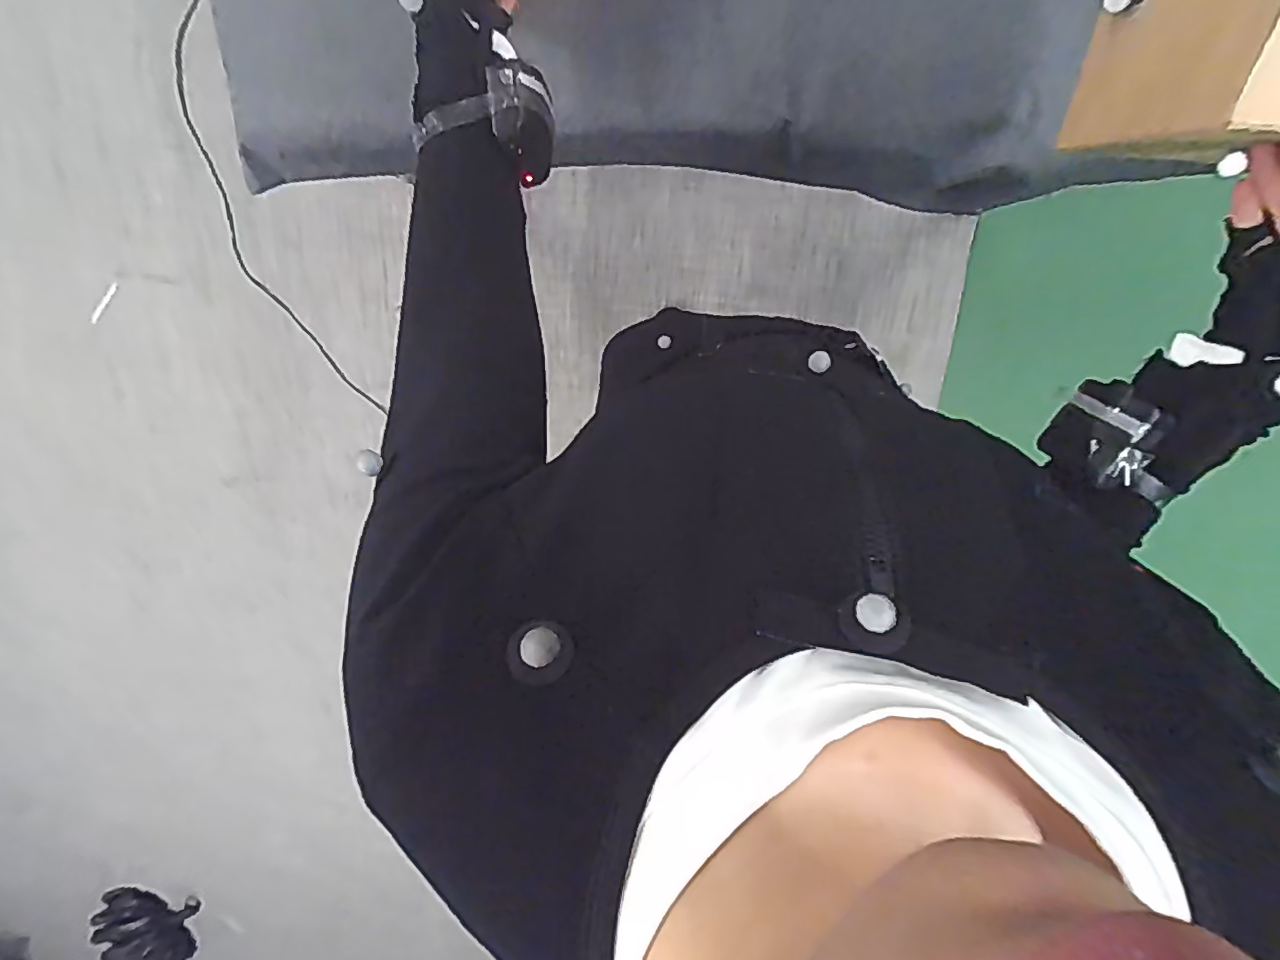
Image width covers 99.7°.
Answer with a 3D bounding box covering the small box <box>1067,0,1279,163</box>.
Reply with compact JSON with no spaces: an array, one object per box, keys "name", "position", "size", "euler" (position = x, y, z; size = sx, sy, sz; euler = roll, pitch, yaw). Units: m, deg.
[{"name":"small box","position":[0.407,-0.294,0.321],"size":[0.168,0.176,0.179],"euler":[5,118,4]}]
